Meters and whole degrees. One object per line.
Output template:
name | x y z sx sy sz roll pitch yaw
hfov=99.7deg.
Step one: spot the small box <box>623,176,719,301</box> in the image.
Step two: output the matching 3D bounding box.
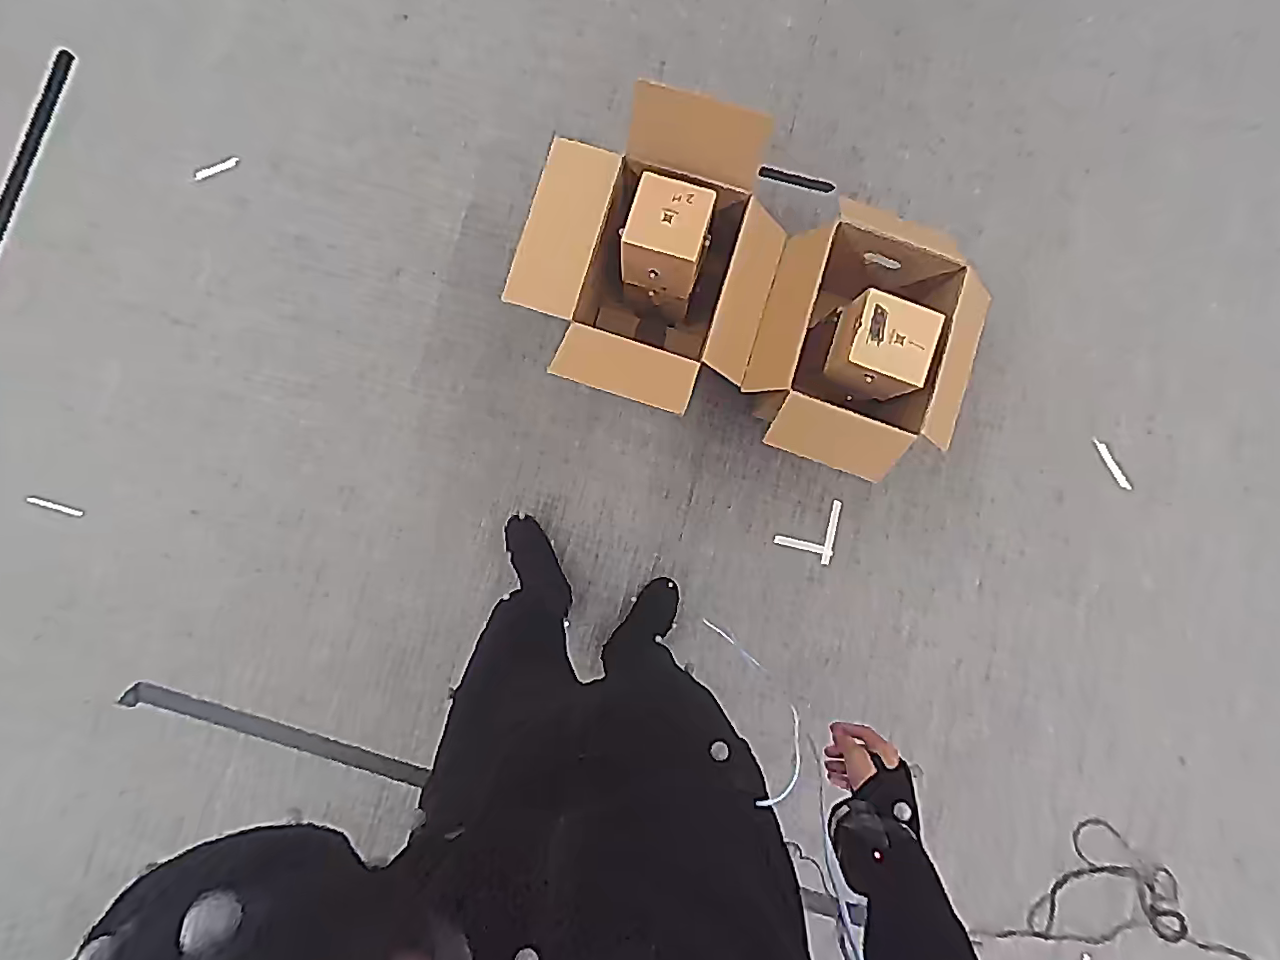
small box | 0.067 -0.535 1.222 0.168 0.176 0.179 17 81 1
